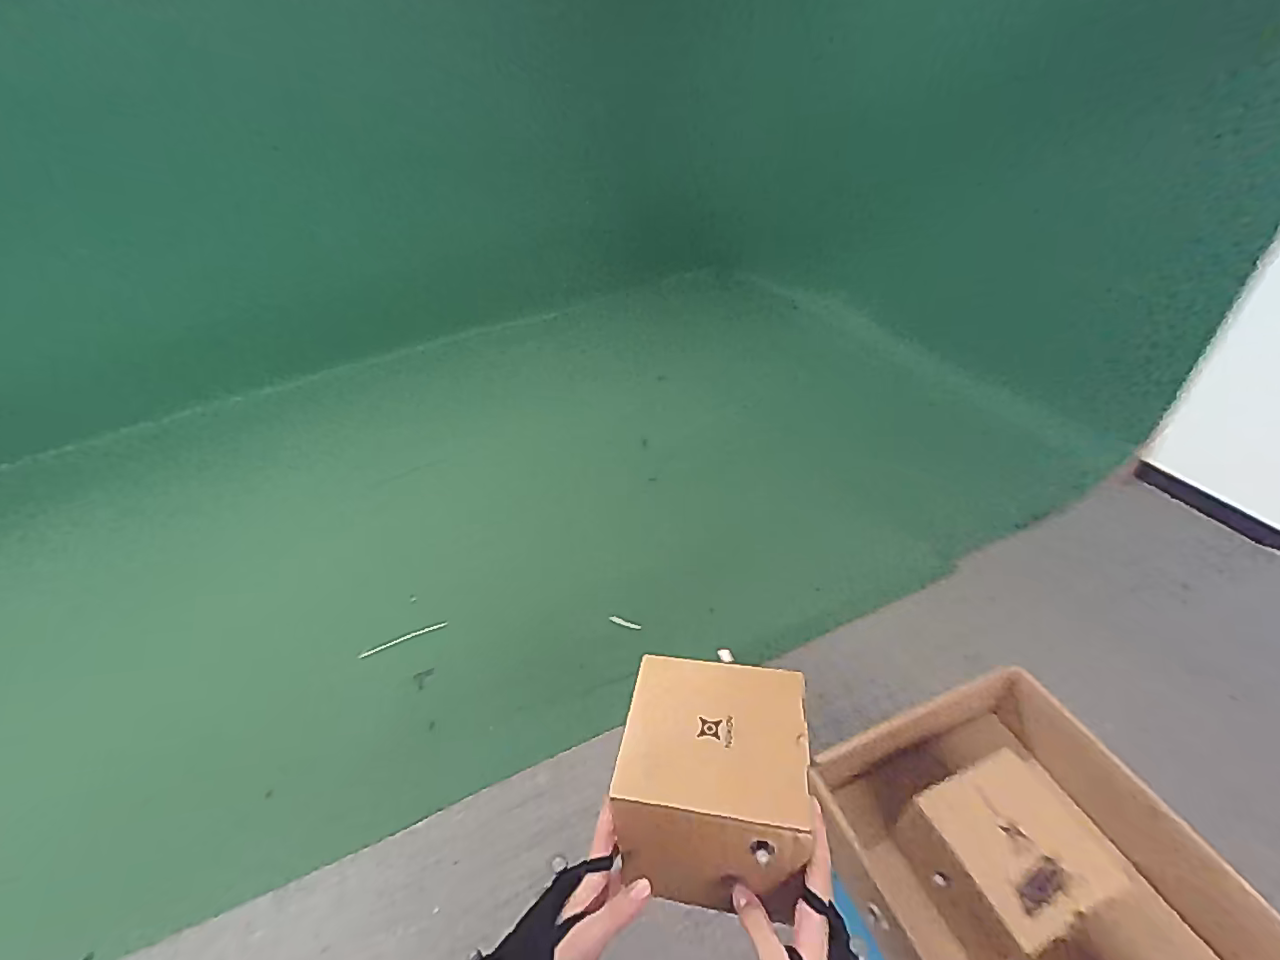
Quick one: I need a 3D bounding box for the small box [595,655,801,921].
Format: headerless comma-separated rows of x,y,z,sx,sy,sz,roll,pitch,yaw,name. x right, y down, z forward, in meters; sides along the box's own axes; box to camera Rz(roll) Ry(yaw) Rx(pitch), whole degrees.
0.066,0.307,0.553,0.179,0.176,0.168,2,30,11,small box
